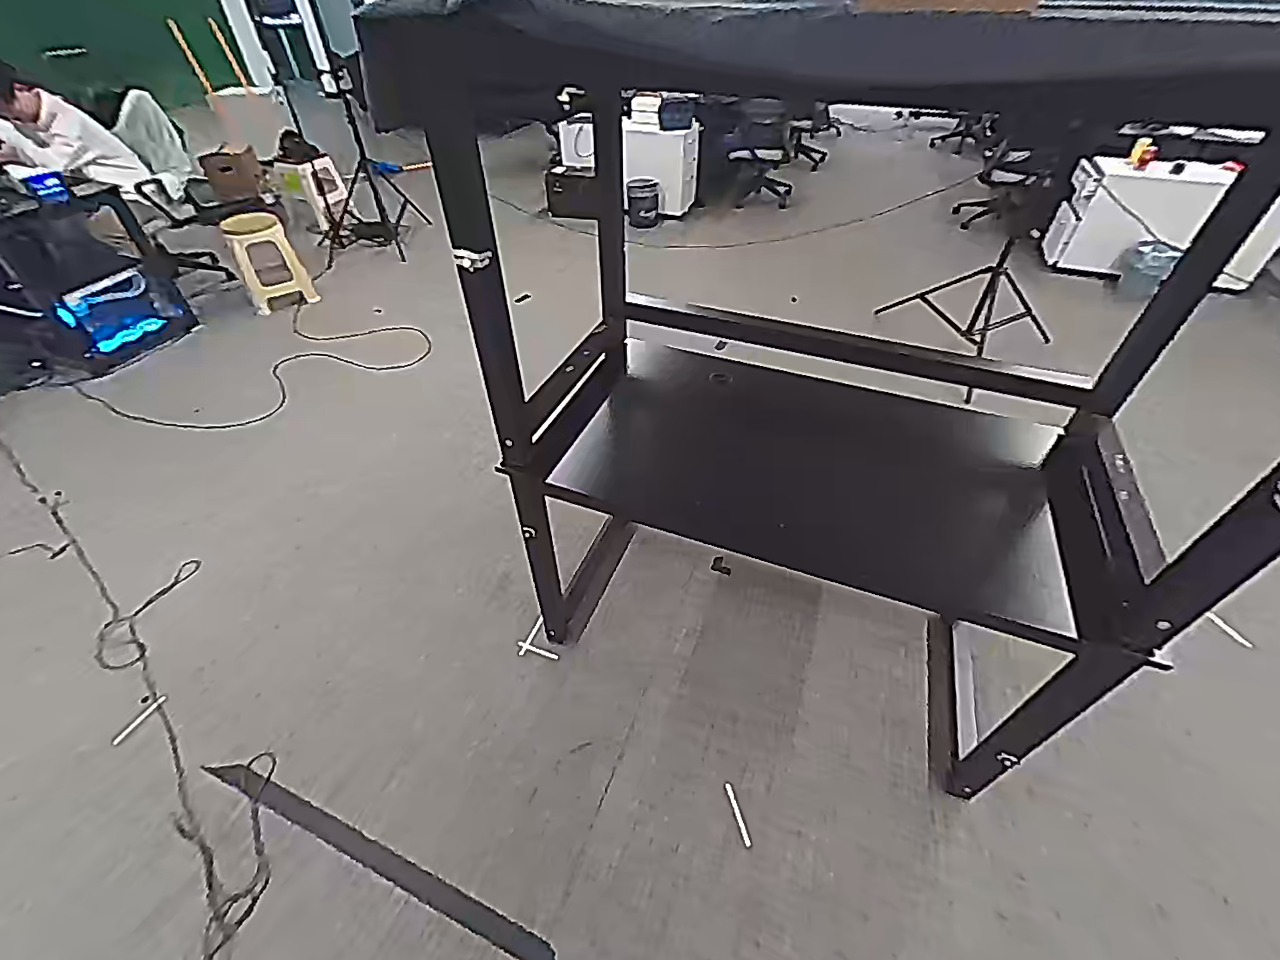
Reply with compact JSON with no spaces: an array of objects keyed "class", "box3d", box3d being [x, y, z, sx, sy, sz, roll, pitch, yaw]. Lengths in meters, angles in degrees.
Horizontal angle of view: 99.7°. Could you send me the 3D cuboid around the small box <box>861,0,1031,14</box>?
[{"class":"small box","box3d":[0.331,-0.581,0.542,0.168,0.176,0.179,15,44,15]}]
